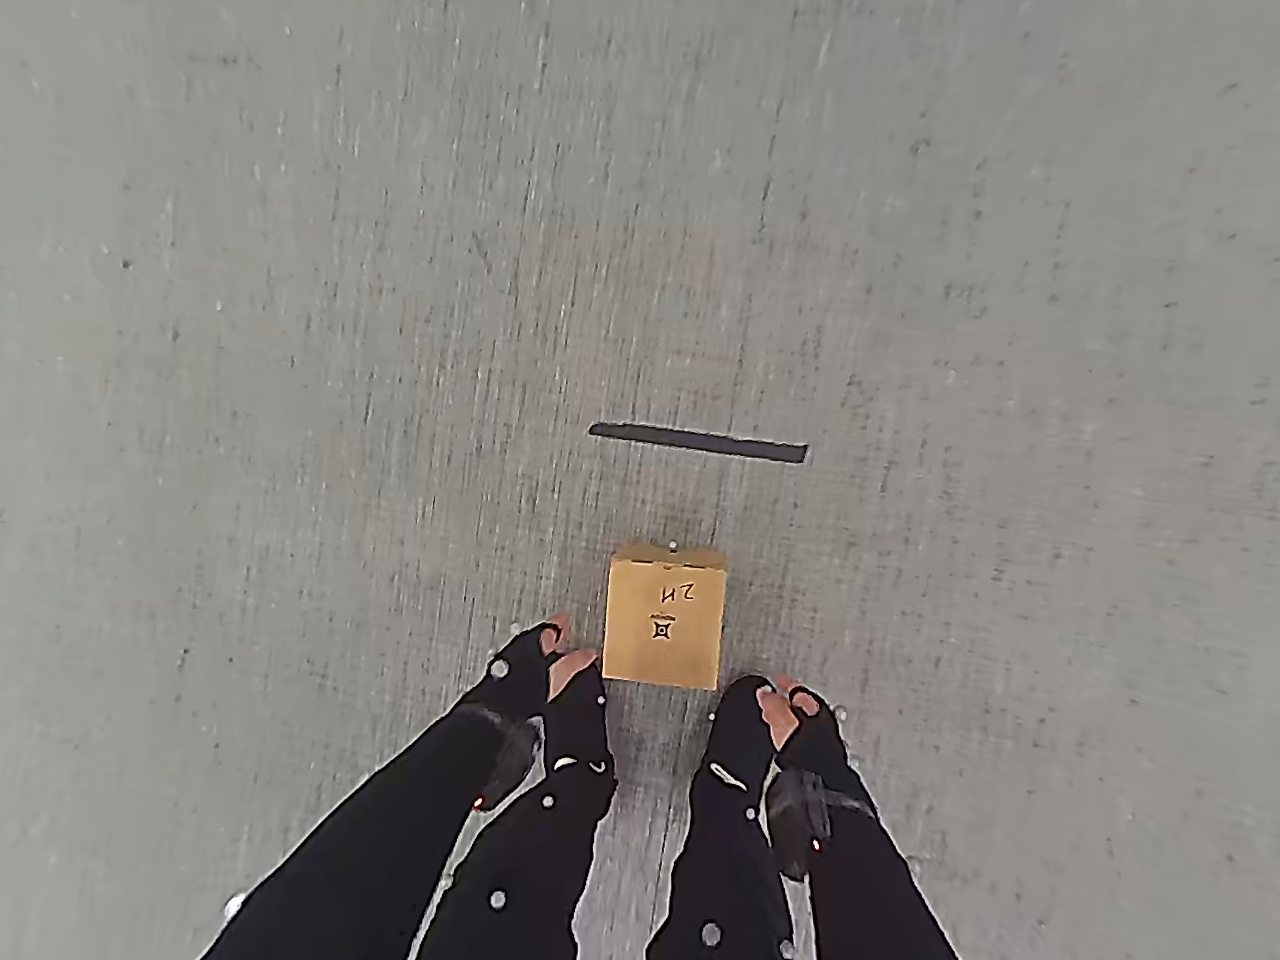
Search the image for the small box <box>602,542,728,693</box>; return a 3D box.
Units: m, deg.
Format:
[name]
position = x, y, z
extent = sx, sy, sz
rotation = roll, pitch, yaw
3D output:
[small box]
position = 0.043, 0.200, 0.833
extent = 0.168, 0.176, 0.179
rotation = 5, 92, 6
